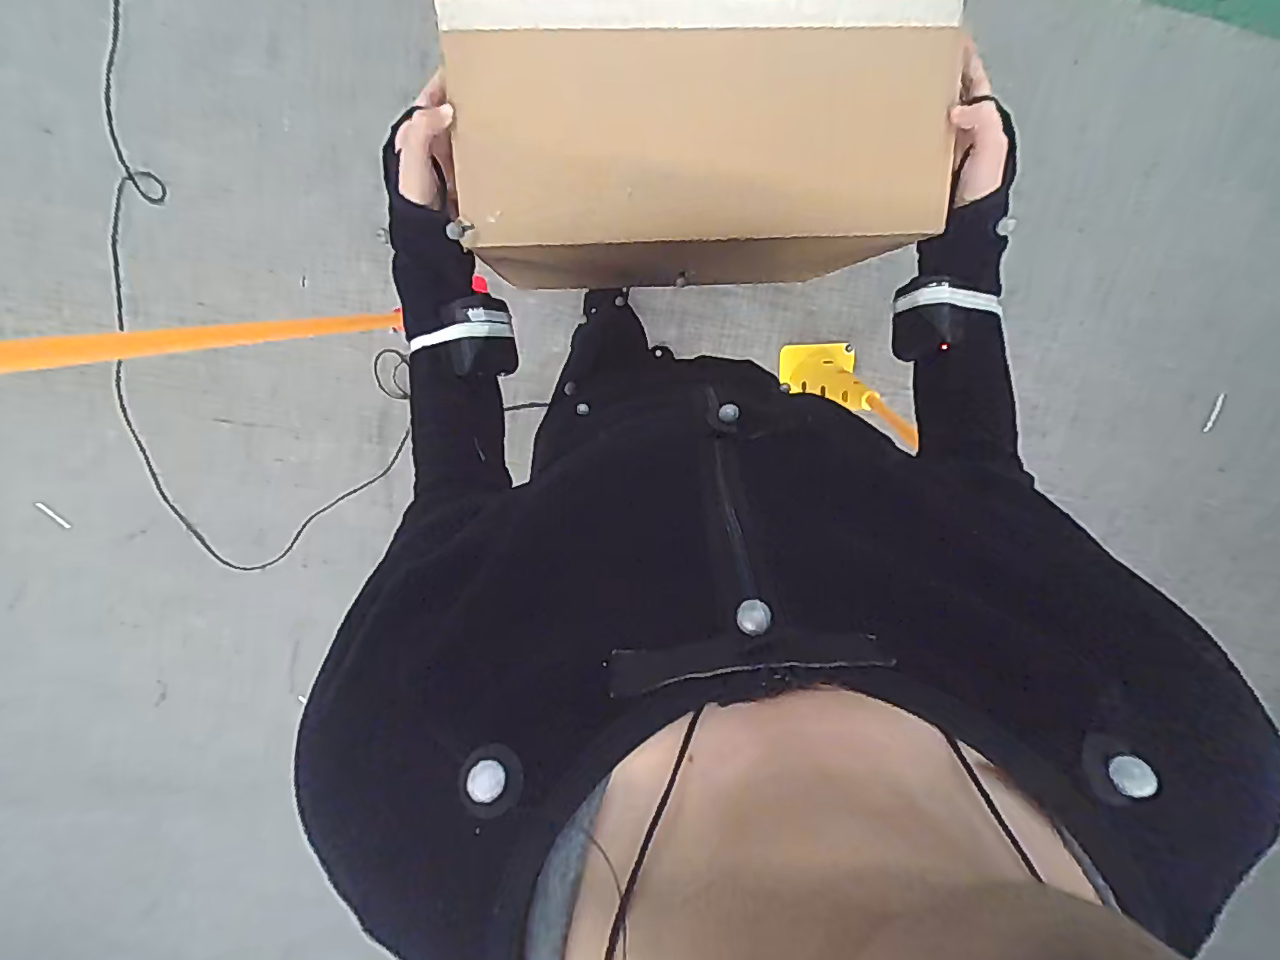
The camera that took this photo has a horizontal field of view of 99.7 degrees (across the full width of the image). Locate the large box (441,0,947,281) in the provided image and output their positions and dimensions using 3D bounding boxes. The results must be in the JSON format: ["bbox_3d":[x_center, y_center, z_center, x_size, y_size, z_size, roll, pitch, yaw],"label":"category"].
[{"bbox_3d":[0.039,-0.393,0.568,0.408,0.320,0.320,-3,103,-3],"label":"large box"}]
